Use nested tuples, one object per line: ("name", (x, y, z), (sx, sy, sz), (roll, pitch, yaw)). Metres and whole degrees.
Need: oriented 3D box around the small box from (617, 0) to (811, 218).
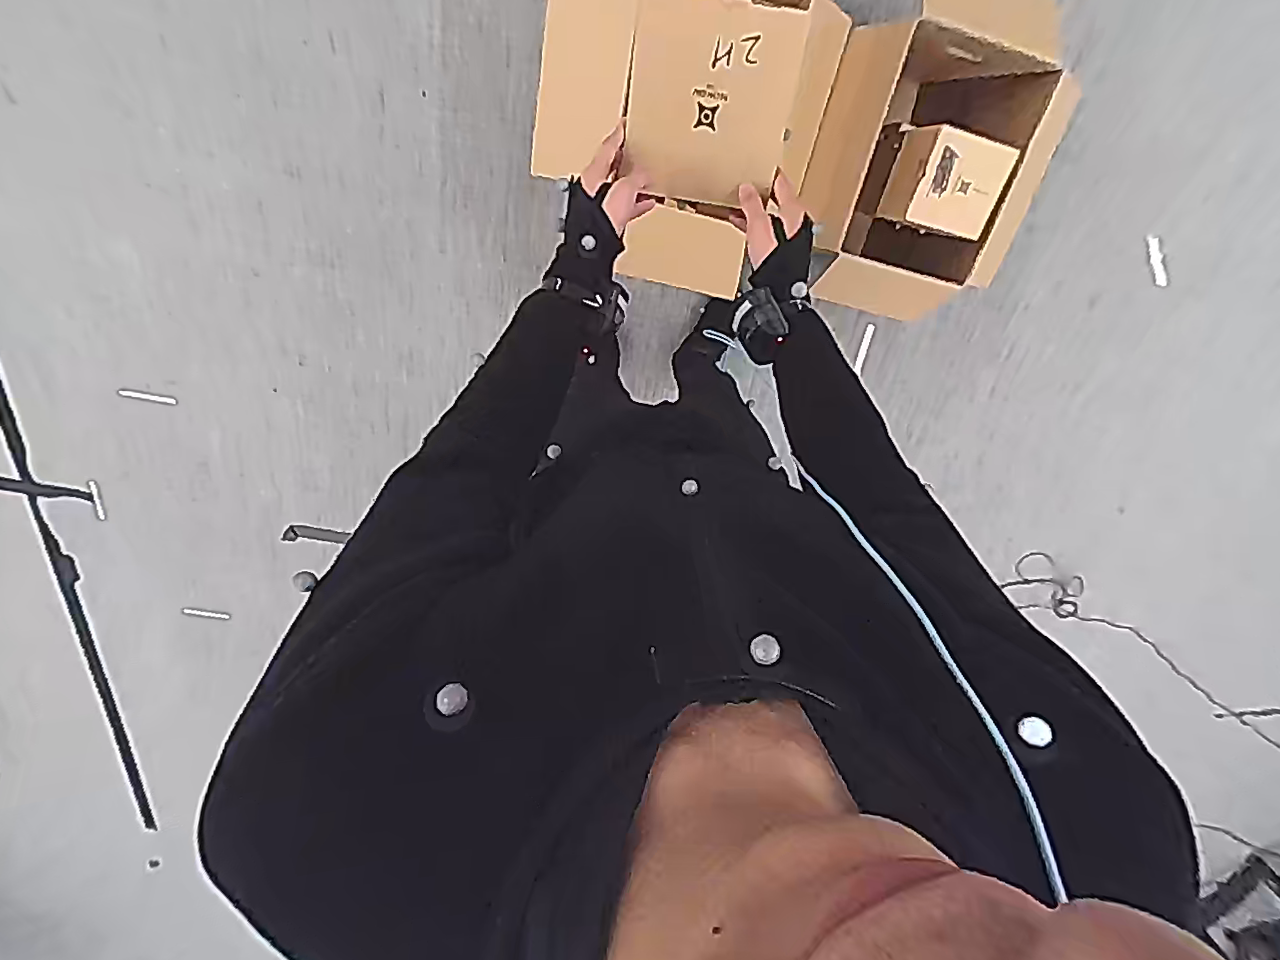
("small box", (0.069, -0.413, 0.610), (0.168, 0.176, 0.179), (7, 121, -5))
